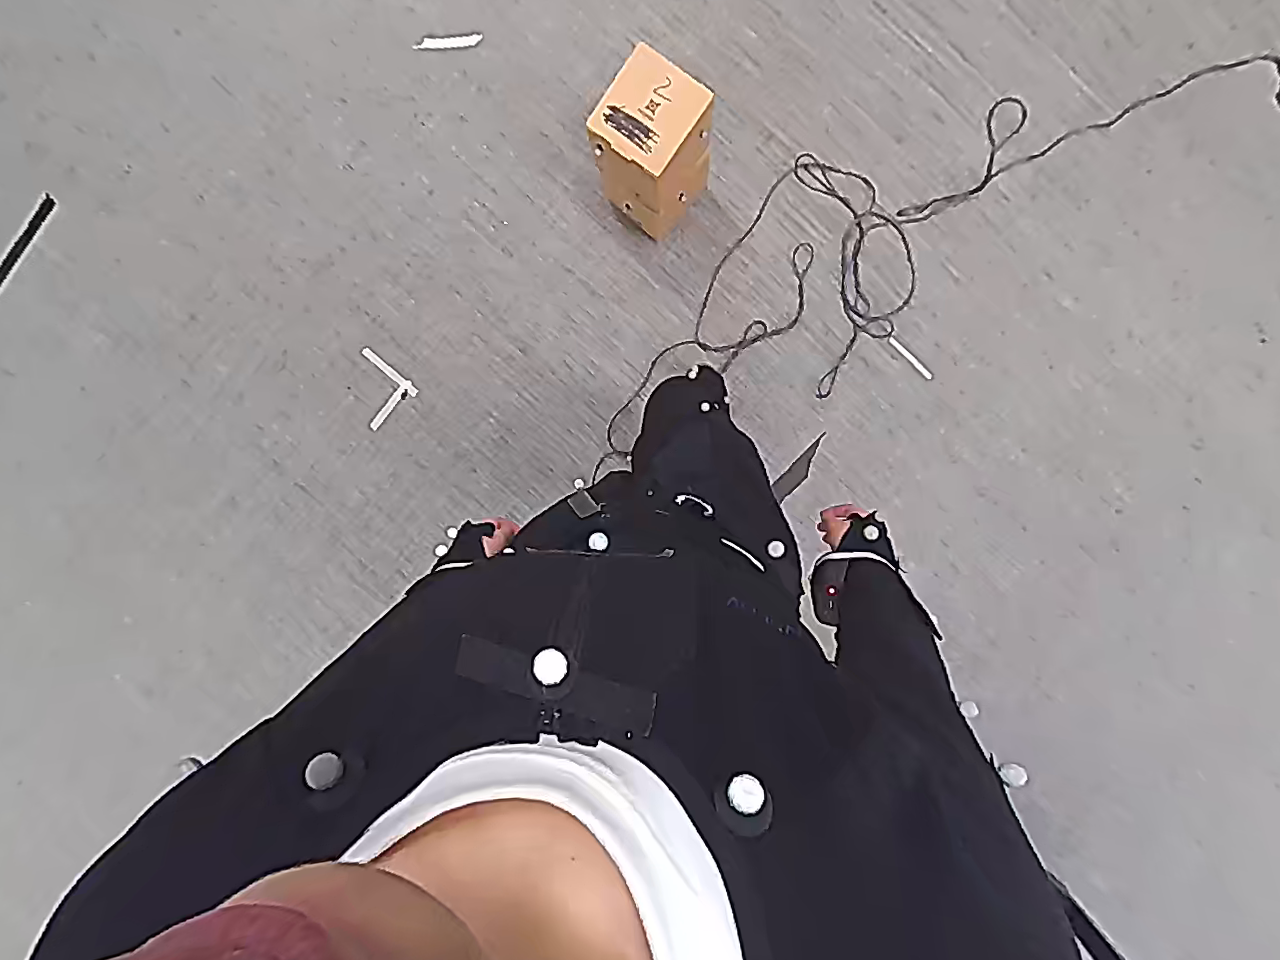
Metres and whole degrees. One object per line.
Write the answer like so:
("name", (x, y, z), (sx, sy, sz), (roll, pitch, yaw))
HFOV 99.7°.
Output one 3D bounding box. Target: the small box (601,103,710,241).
("small box", (0.039, -0.672, 1.207), (0.168, 0.176, 0.179), (42, 96, -1))
